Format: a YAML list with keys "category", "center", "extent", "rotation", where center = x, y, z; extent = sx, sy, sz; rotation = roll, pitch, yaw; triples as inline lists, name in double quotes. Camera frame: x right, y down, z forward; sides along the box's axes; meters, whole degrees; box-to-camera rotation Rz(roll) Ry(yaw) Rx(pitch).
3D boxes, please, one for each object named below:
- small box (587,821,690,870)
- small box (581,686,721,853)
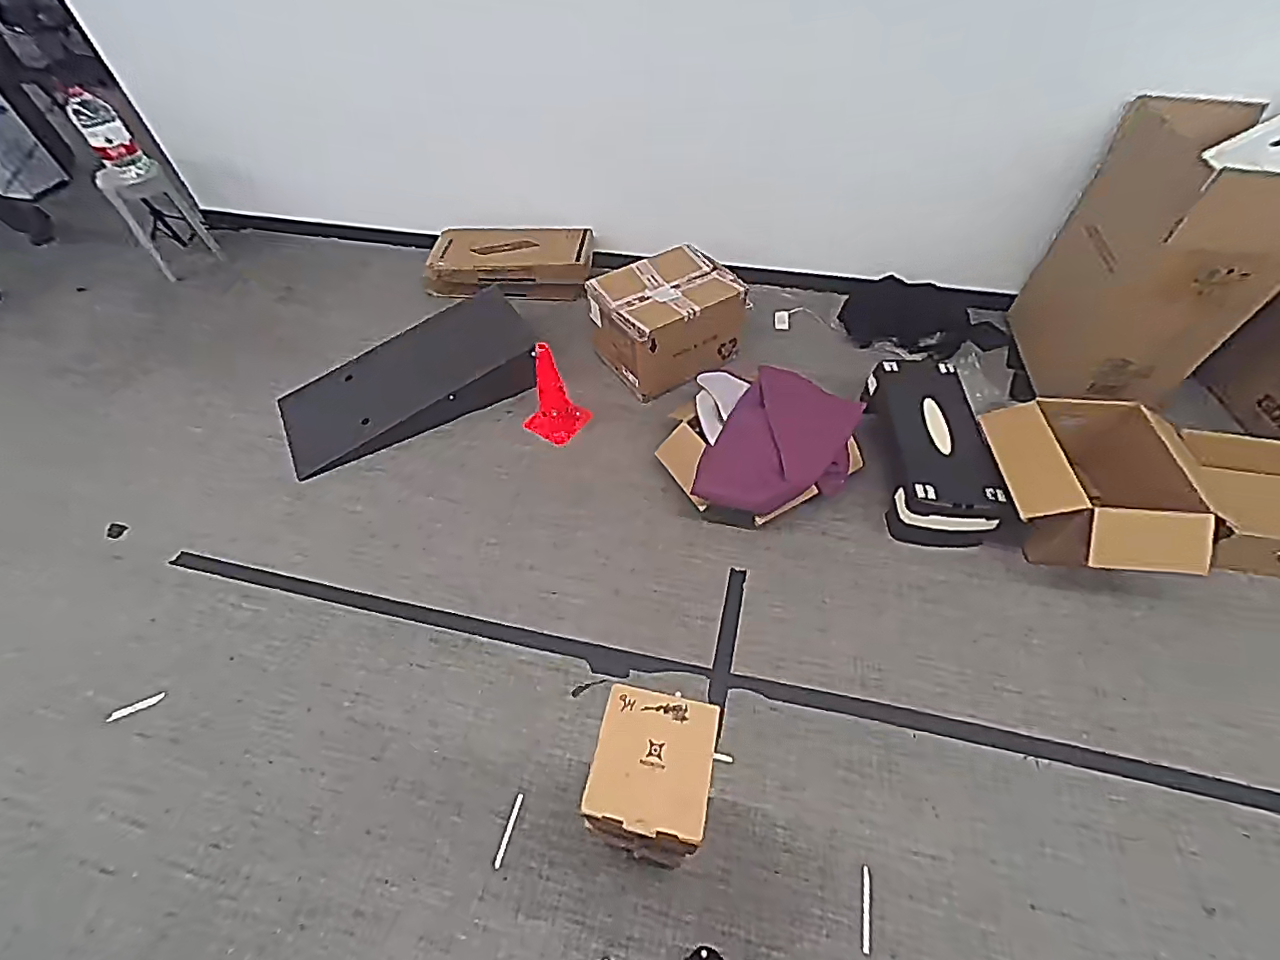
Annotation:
- category: "small box"
  center: [0.020, 0.545, 0.938]
  extent: [0.168, 0.176, 0.179]
  rotation: [13, 55, 12]
- category: "small box"
  center: [0.024, 0.439, 0.813]
  extent: [0.168, 0.176, 0.179]
  rotation: [10, 54, 10]
